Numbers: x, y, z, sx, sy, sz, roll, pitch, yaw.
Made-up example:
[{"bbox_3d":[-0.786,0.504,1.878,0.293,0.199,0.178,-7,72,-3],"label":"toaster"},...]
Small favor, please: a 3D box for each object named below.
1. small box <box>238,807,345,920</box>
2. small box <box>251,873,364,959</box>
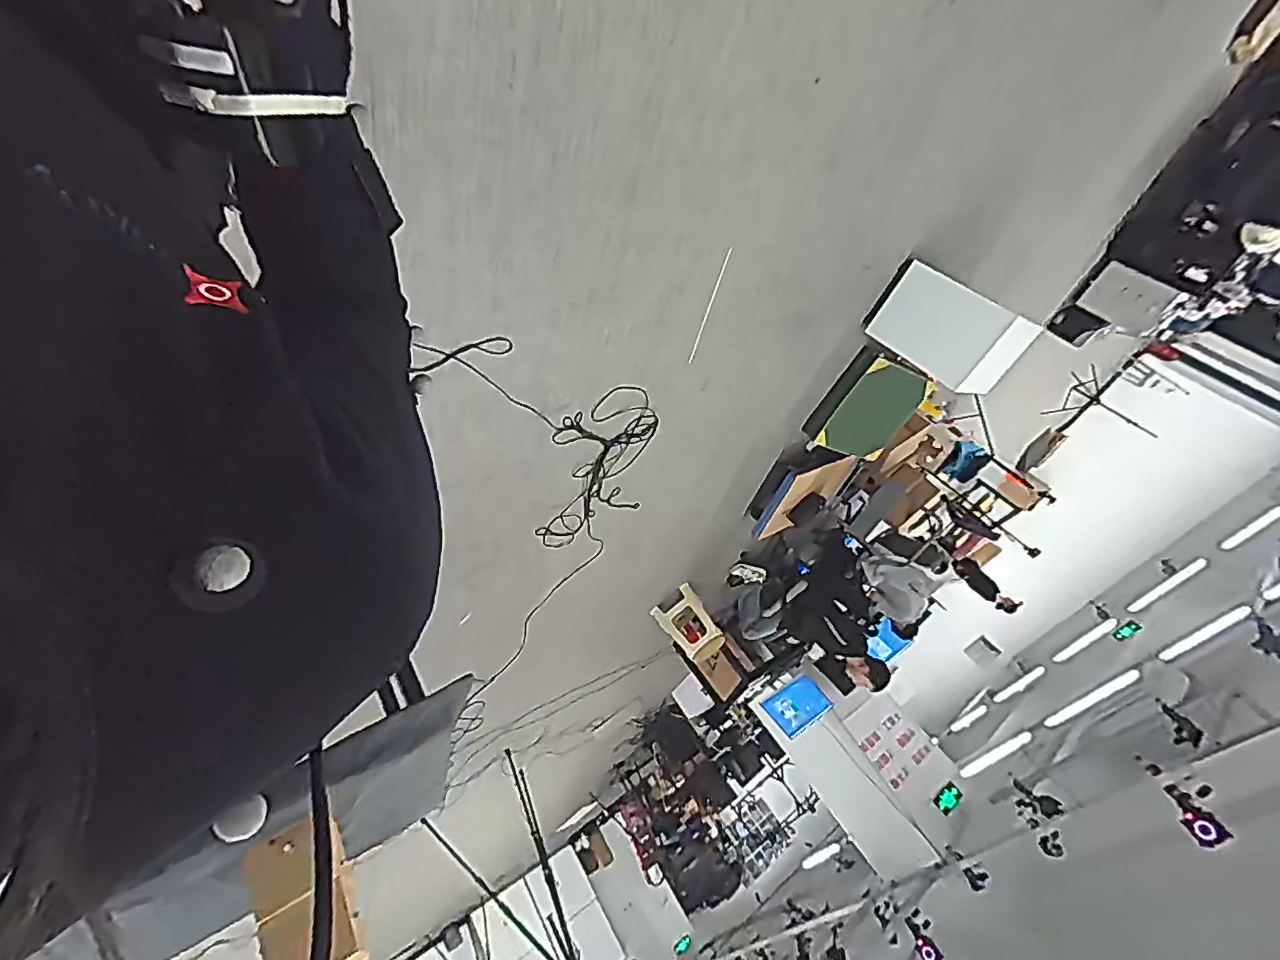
[{"bbox_3d":[-0.859,0.950,1.339,0.168,0.176,0.179,-23,145,-28],"label":"small box"},{"bbox_3d":[-0.775,1.069,1.267,0.179,0.176,0.168,-19,143,-31],"label":"small box"}]
